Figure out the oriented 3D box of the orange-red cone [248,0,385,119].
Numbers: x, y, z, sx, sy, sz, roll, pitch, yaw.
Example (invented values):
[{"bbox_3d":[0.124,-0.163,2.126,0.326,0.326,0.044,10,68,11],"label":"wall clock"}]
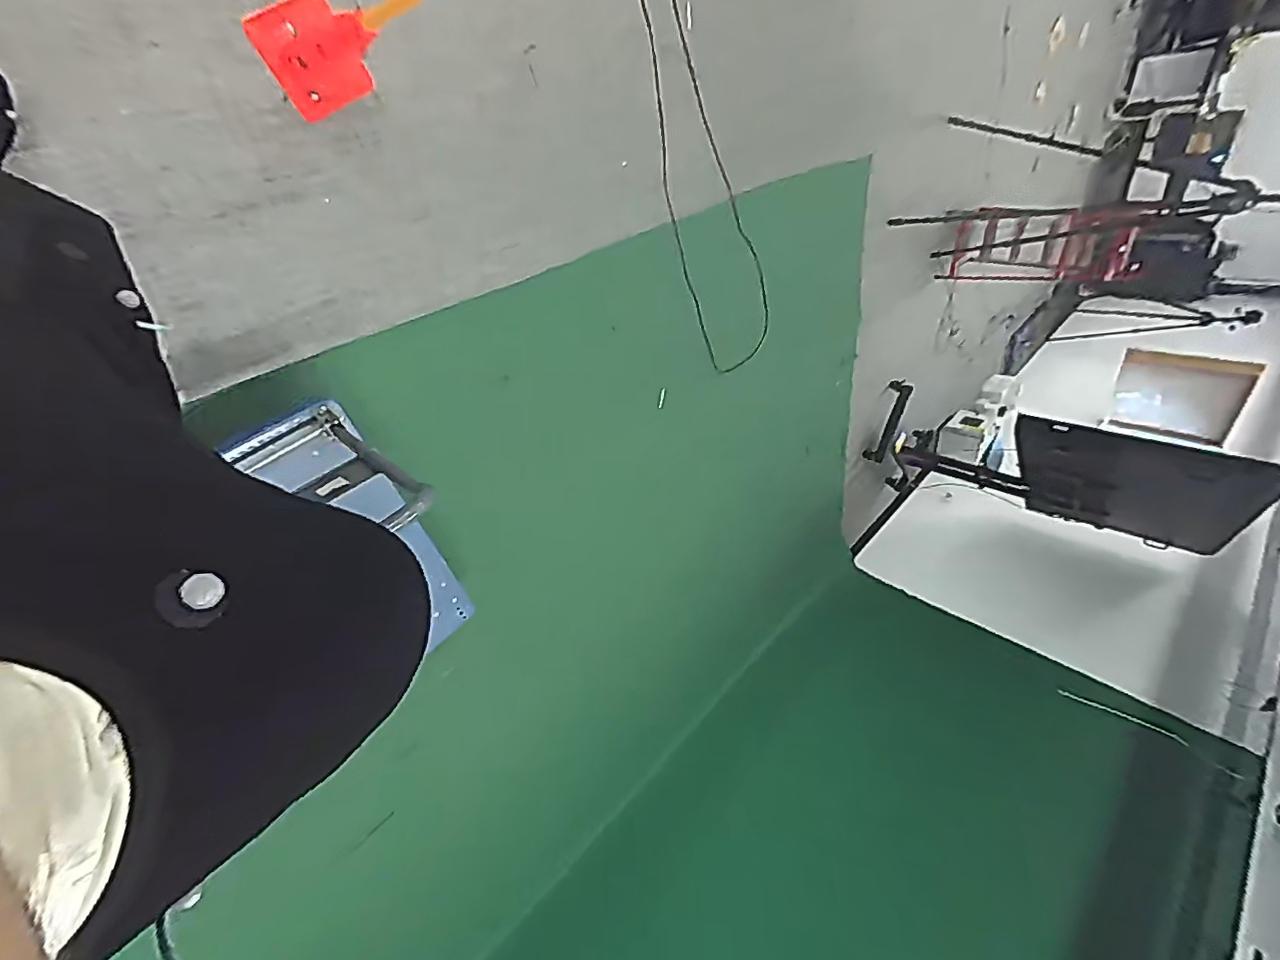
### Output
[{"bbox_3d":[-0.610,-0.898,1.106,0.199,0.360,0.198,-47,138,-20],"label":"orange-red cone"}]
